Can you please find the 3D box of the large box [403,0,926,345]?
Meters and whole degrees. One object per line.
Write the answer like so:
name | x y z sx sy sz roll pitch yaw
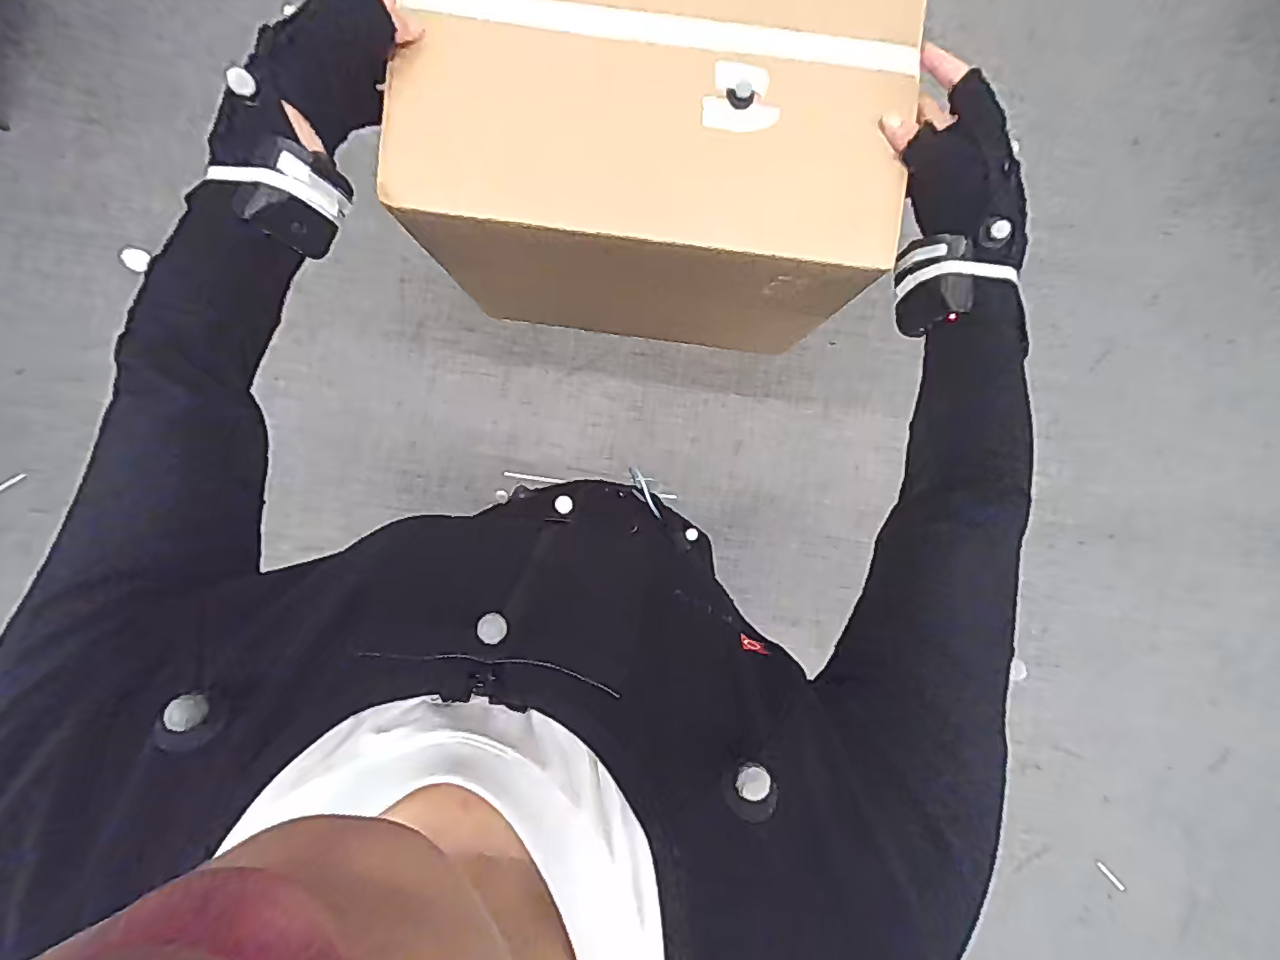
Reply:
large box | 0.019 -0.351 0.577 0.408 0.320 0.320 7 91 -2
